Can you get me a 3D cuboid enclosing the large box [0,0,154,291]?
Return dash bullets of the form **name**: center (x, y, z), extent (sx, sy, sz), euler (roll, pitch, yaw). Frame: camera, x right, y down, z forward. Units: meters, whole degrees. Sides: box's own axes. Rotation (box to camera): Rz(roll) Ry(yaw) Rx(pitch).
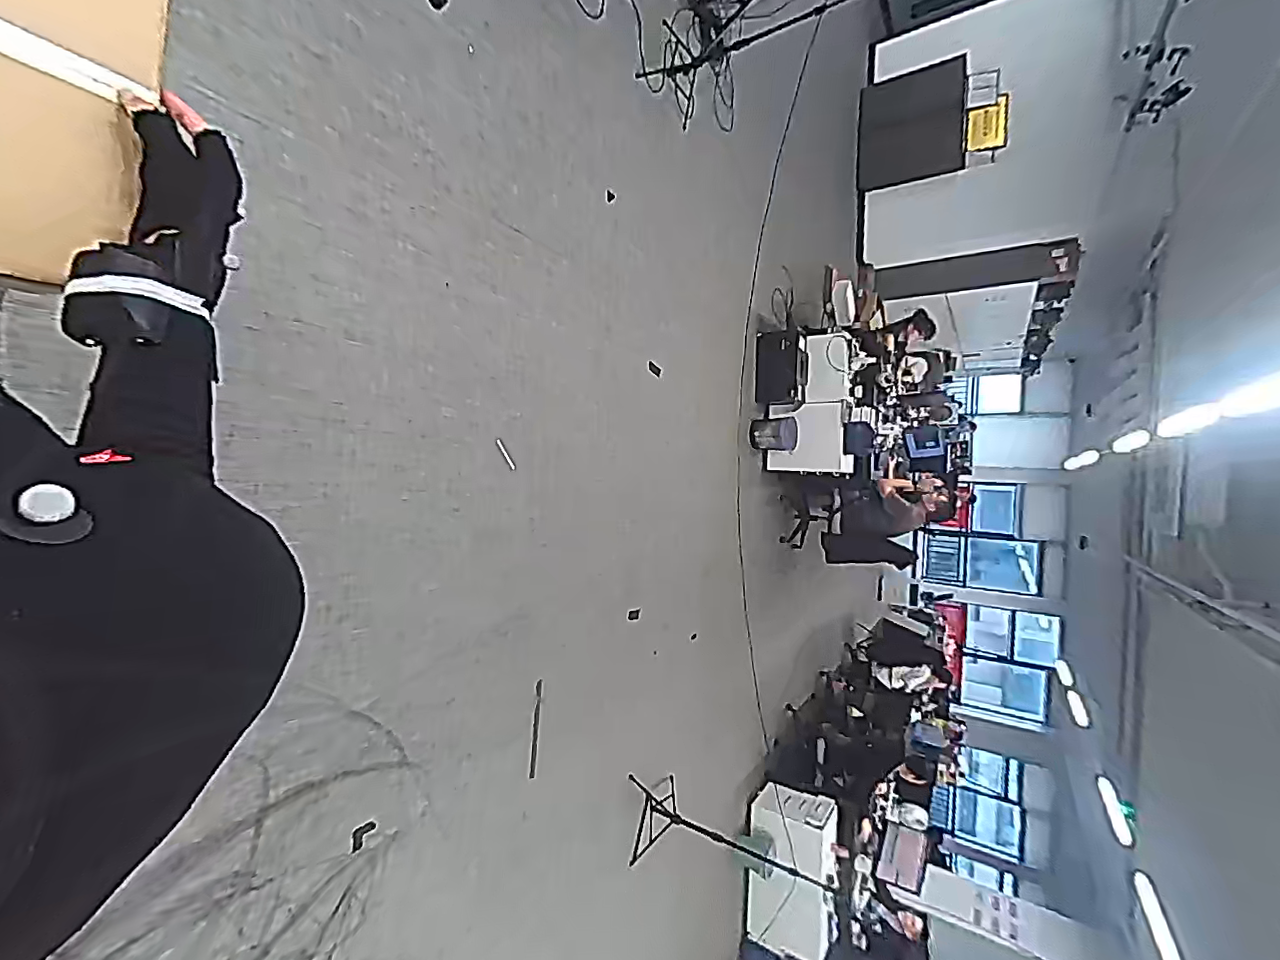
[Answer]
- **large box**: center (-0.635, -0.336, 0.349), extent (0.408, 0.320, 0.320), euler (0, 103, -60)
